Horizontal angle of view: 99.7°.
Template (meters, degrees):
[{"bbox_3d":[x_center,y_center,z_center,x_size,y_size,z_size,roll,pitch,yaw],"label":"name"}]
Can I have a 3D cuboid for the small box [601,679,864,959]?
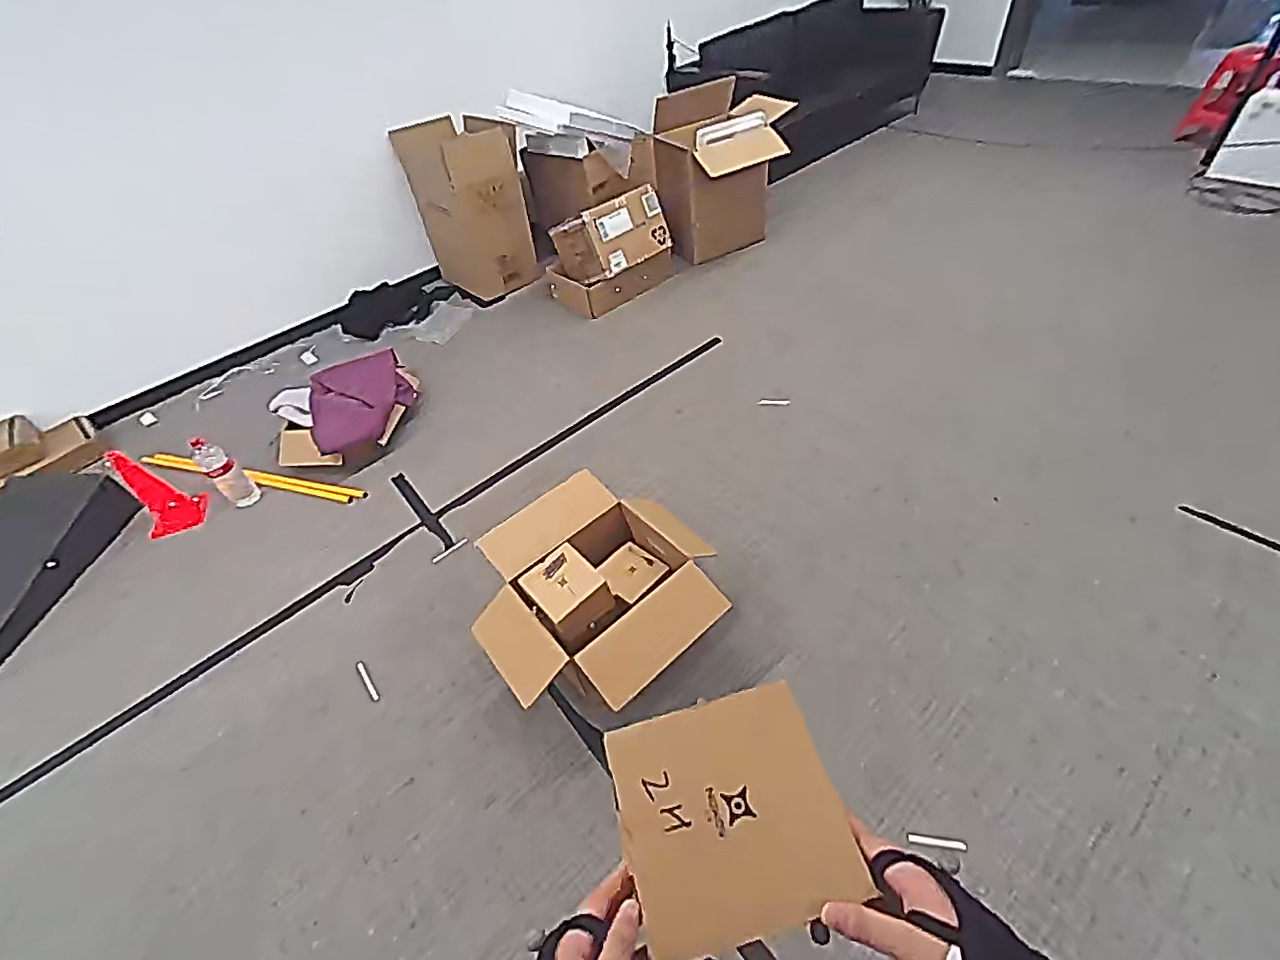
[{"bbox_3d":[0.073,0.312,0.507,0.179,0.176,0.168,-15,53,-5],"label":"small box"}]
